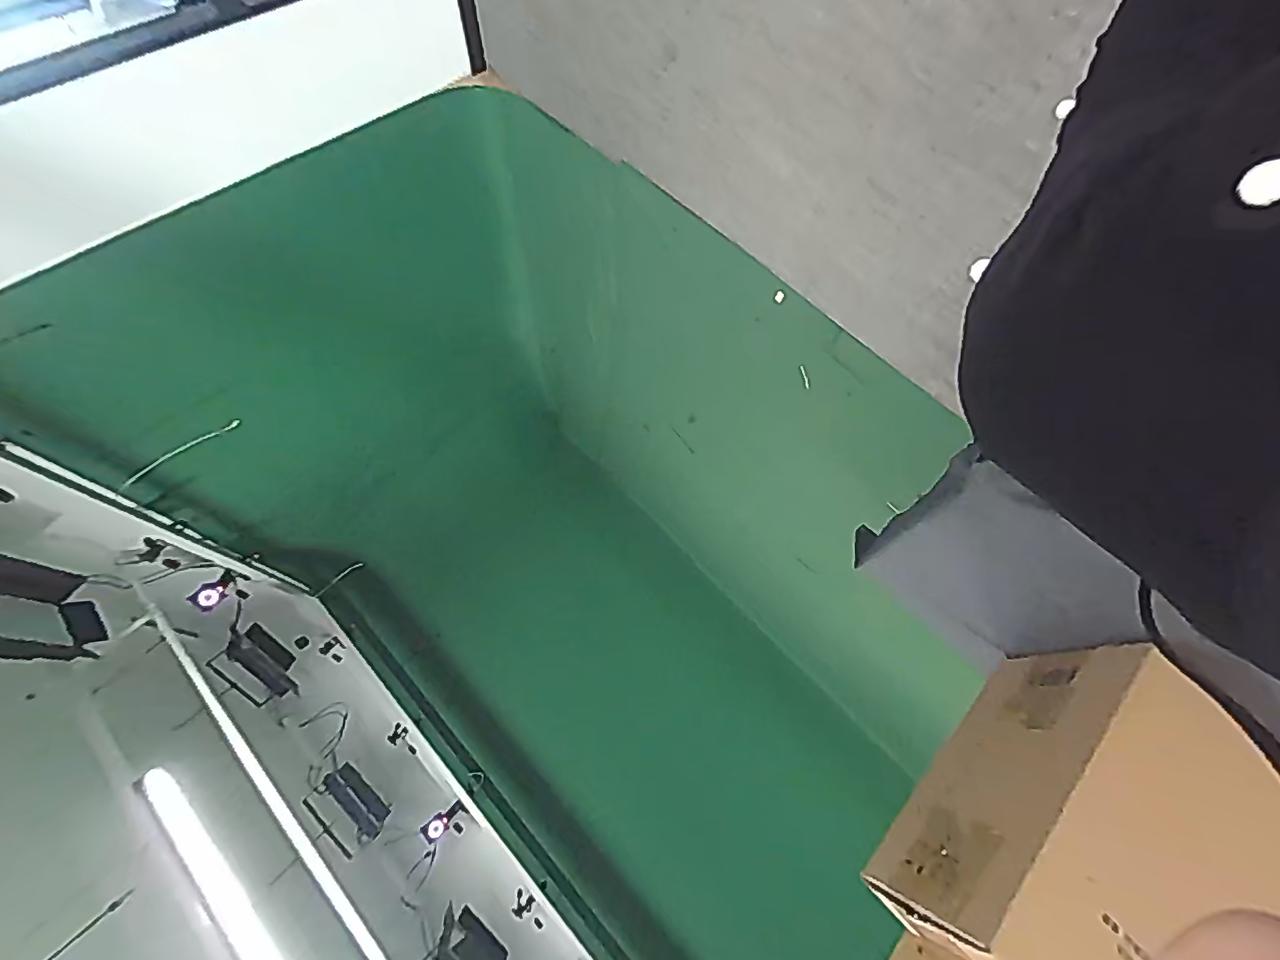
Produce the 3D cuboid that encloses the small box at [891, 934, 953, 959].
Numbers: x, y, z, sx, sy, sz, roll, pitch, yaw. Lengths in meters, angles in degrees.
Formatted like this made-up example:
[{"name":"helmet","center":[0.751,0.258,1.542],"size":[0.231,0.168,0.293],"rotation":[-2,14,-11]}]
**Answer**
[{"name":"small box","center":[0.504,0.904,0.874],"size":[0.179,0.176,0.168],"rotation":[44,155,12]}]
